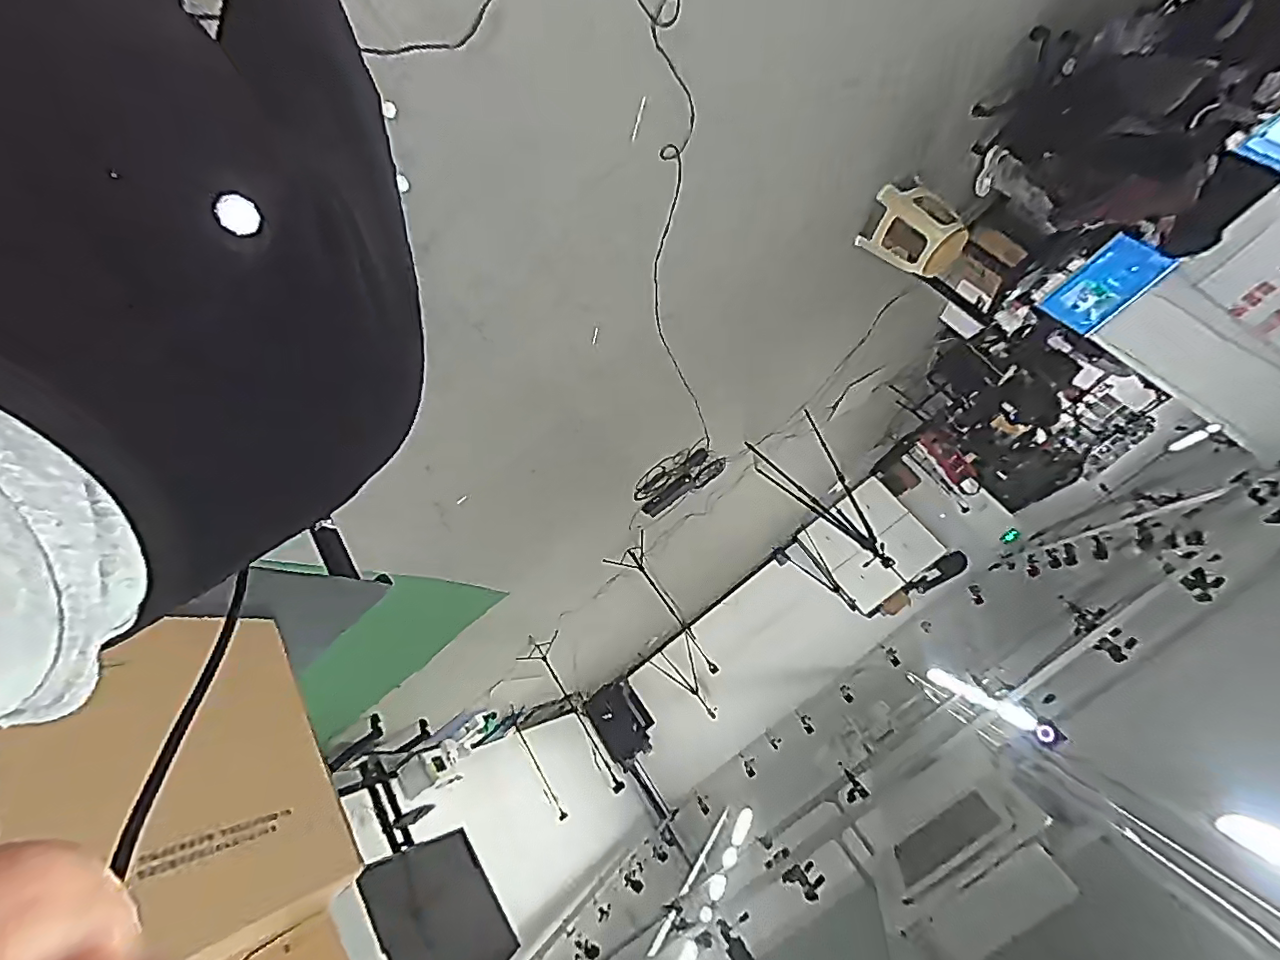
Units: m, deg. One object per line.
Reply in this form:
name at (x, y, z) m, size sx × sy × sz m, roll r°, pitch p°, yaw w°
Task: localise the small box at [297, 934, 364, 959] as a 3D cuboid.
small box at (-0.619, 1.000, 1.000) m, size 0.179 × 0.176 × 0.168 m, roll -47°, pitch 157°, yaw 4°
